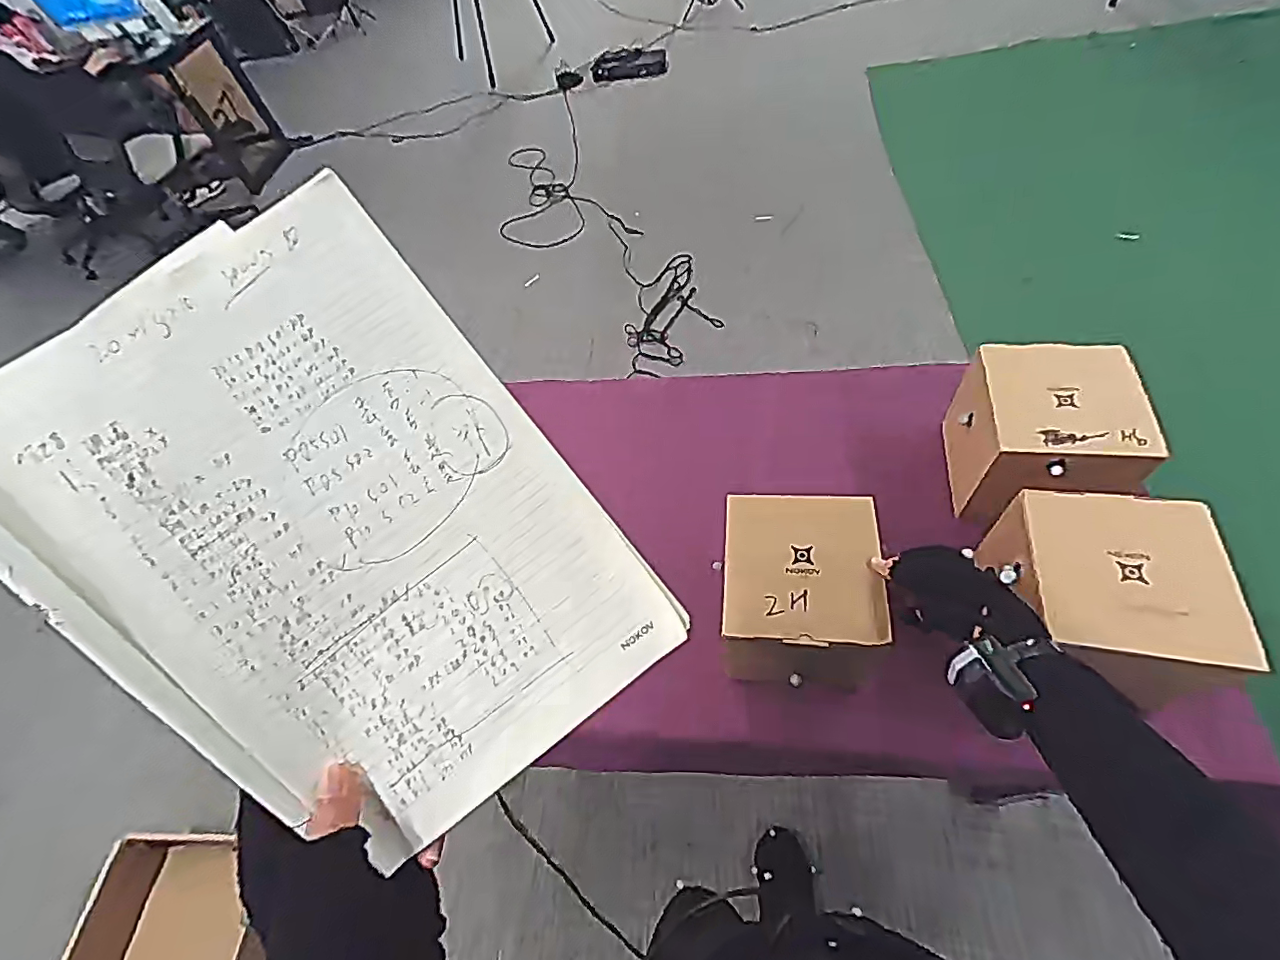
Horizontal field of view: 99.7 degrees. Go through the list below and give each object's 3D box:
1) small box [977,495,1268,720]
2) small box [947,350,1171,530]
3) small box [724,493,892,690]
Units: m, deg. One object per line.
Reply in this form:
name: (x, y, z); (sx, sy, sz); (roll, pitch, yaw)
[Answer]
small box: (0.490, 0.140, 0.590); (0.168, 0.176, 0.179); (6, 58, 15)
small box: (0.521, -0.047, 0.709); (0.168, 0.176, 0.179); (4, 57, 14)
small box: (0.187, 0.135, 0.647); (0.168, 0.176, 0.179); (2, 57, 12)
